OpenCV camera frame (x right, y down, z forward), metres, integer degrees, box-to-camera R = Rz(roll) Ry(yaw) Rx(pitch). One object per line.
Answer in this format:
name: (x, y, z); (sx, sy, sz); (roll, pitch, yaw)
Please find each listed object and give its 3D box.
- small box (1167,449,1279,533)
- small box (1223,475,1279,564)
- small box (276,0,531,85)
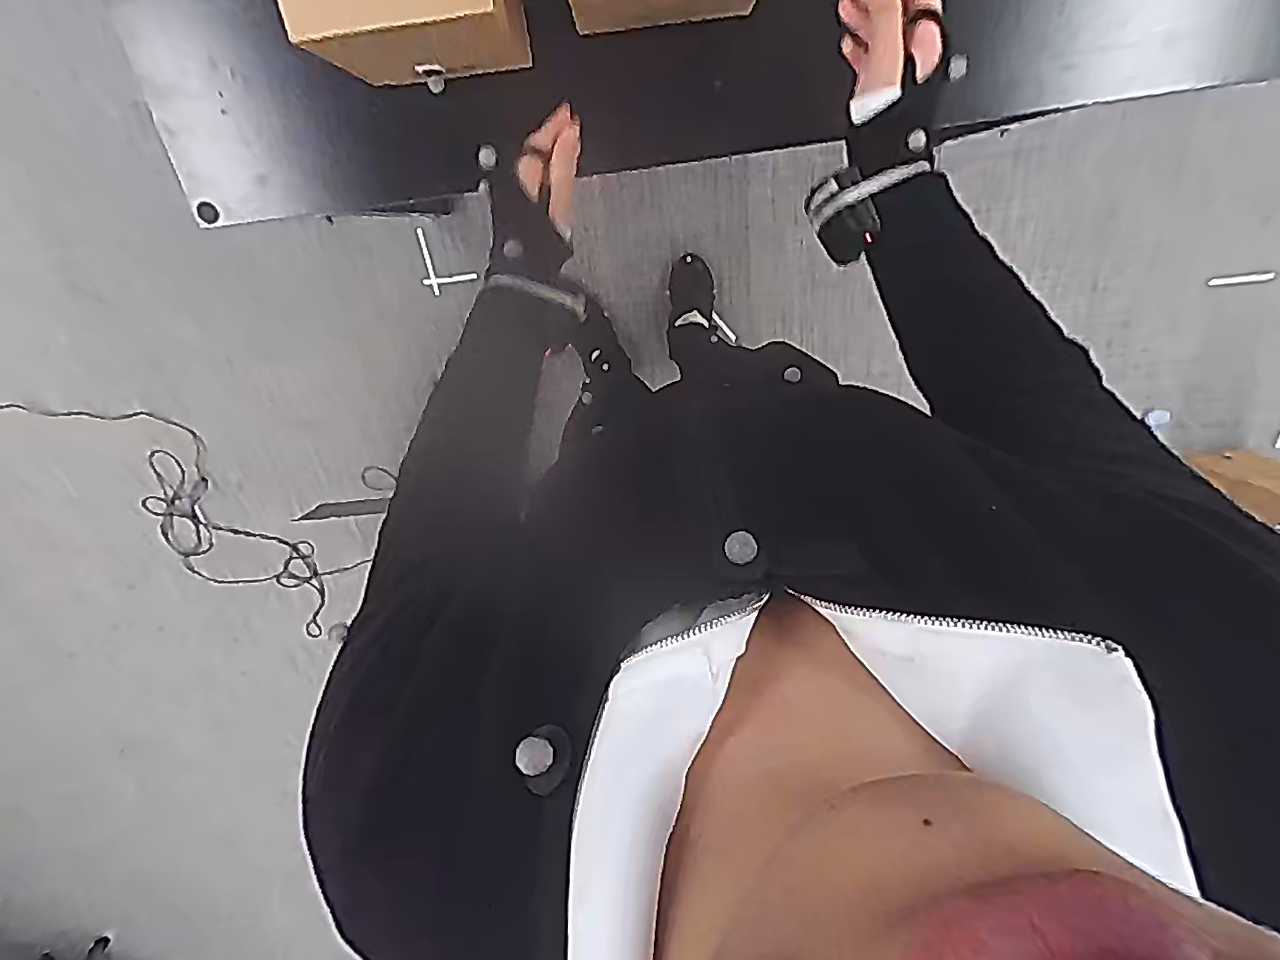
small box: (1.634, 0.027, 1.498); (0.179, 0.176, 0.168); (-8, 116, 4)
small box: (1.630, 0.094, 1.345); (0.168, 0.176, 0.179); (-8, 116, 4)
small box: (-0.199, -0.459, 0.446); (0.168, 0.176, 0.179); (-6, 116, 4)
